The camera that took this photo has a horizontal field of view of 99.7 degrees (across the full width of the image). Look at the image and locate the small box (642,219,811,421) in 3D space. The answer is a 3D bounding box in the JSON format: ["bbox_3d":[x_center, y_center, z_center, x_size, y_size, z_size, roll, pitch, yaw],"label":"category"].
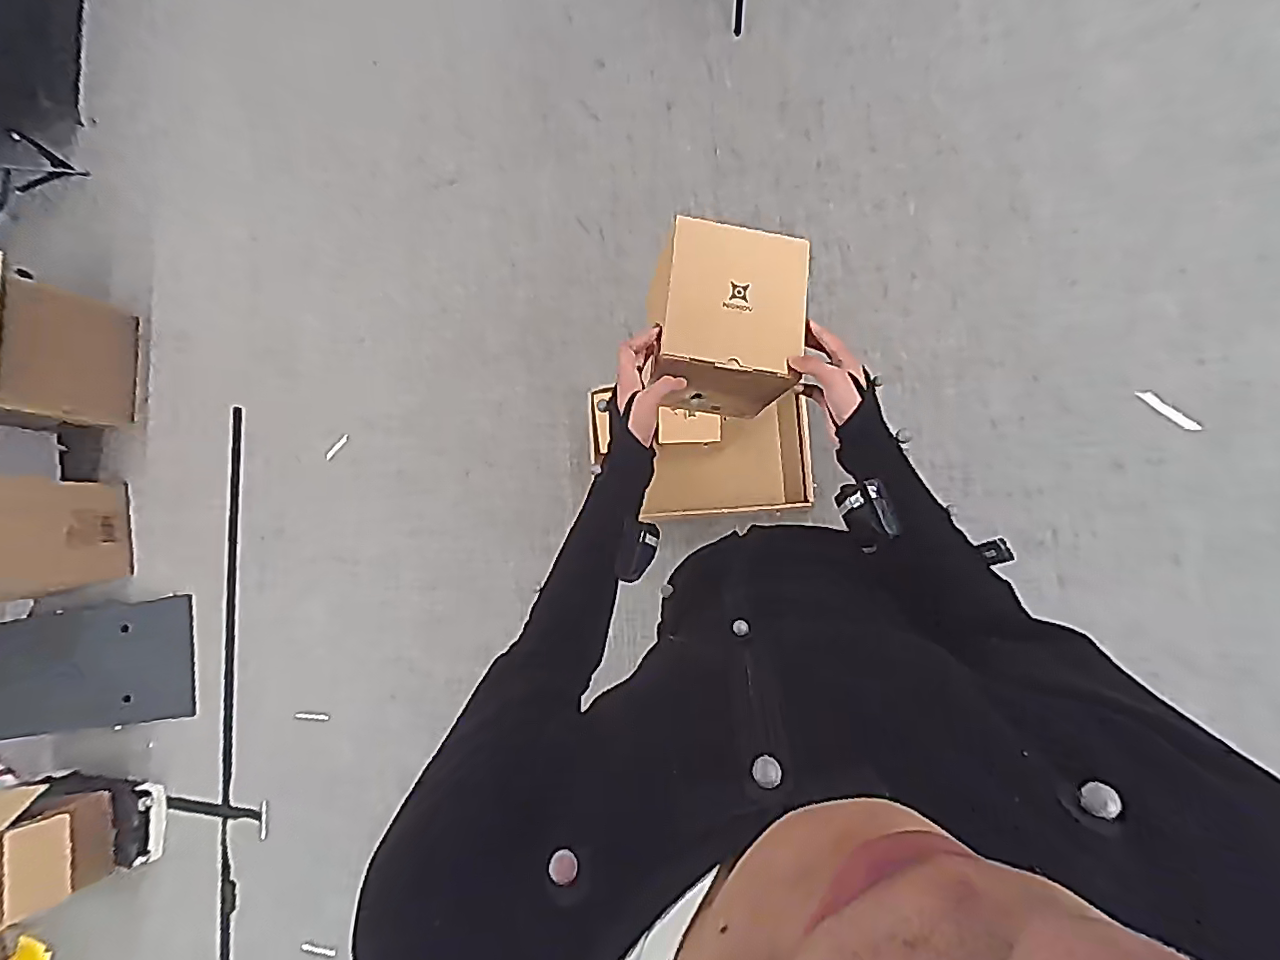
[{"bbox_3d":[0.101,-0.191,0.691,0.168,0.176,0.179,7,80,-8],"label":"small box"}]
